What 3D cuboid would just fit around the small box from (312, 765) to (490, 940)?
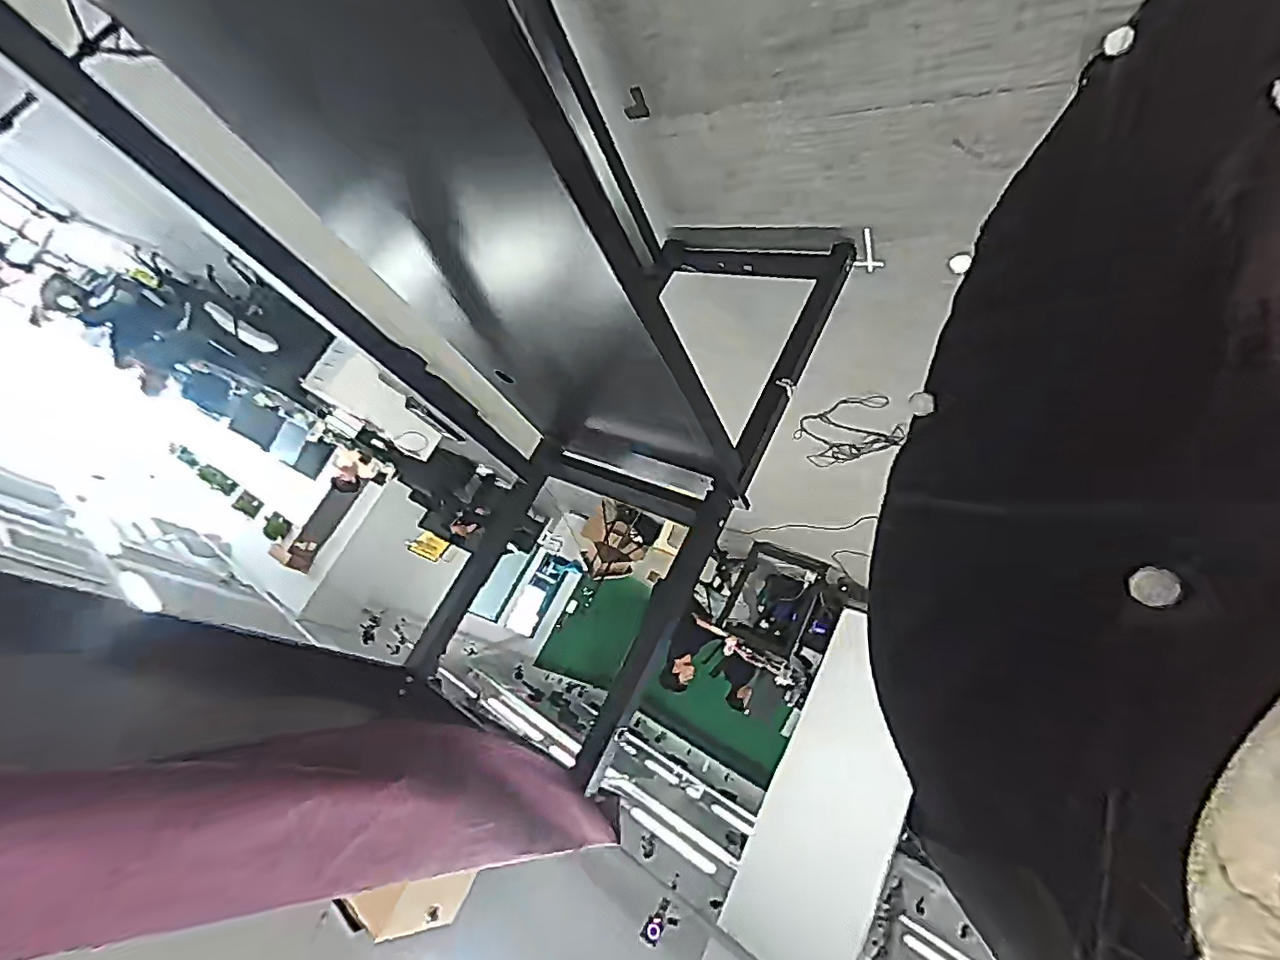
[{"bbox_3d":[-0.385,0.593,0.892,0.179,0.176,0.168,20,163,34],"label":"small box"}]
